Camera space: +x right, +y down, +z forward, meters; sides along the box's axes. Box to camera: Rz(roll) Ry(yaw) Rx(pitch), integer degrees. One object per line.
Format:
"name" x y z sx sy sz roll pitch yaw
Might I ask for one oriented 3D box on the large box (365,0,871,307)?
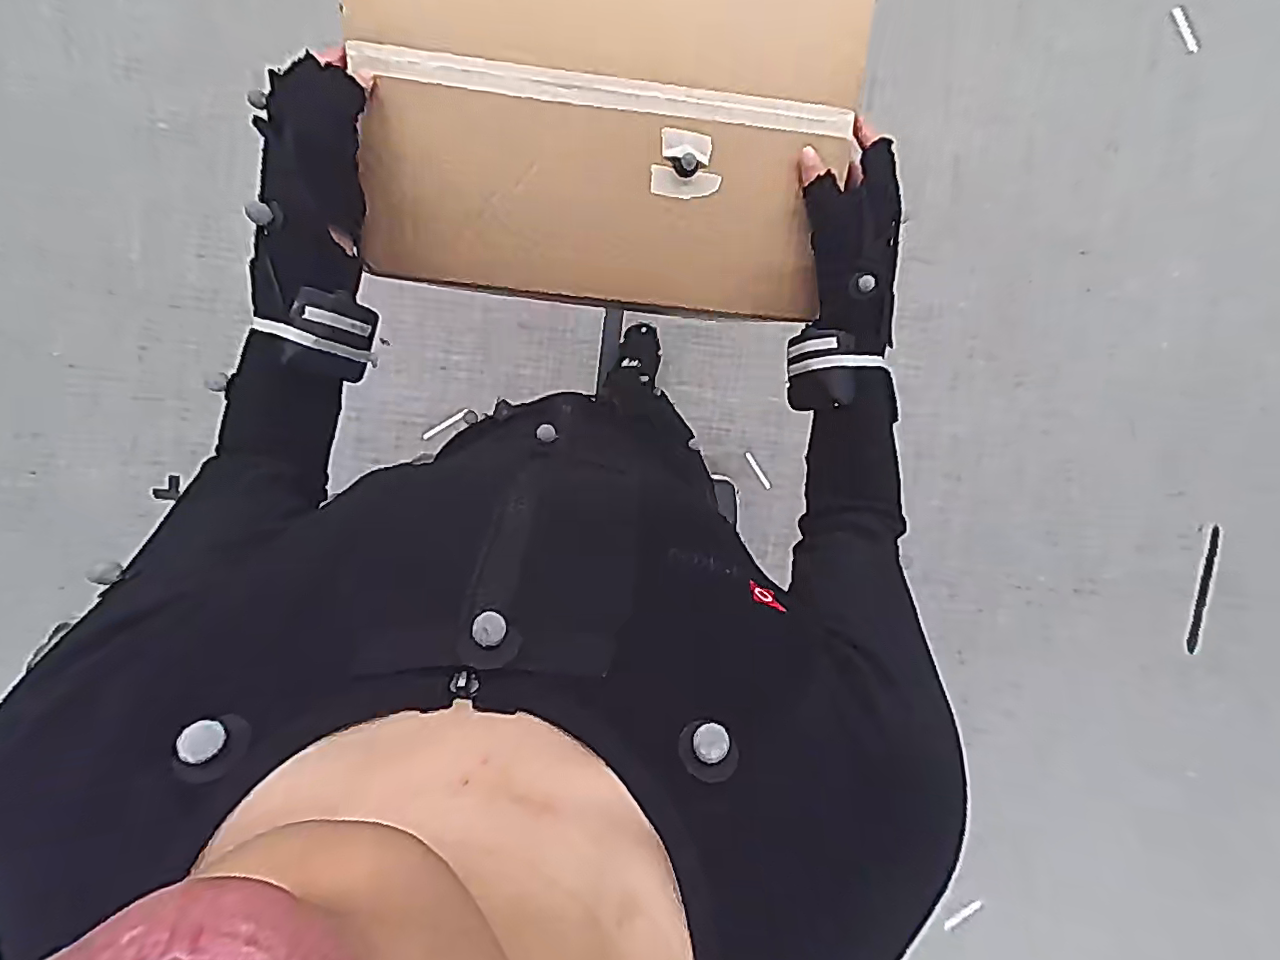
"large box" -0.029 -0.366 0.583 0.408 0.320 0.320 4 107 -6
